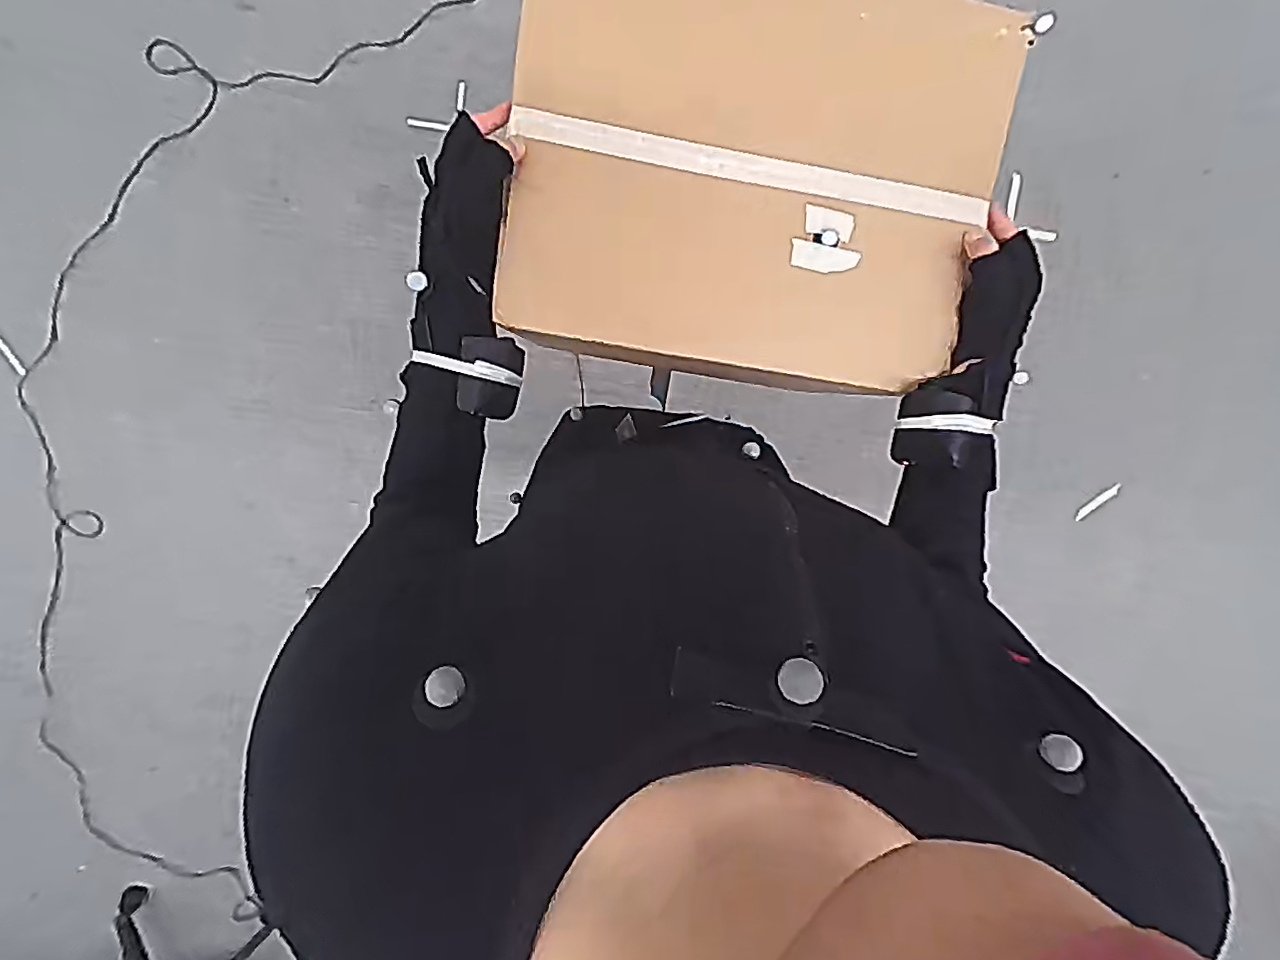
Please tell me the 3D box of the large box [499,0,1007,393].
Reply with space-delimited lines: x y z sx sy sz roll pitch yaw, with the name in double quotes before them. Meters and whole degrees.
"large box" 0.080 -0.280 0.602 0.408 0.320 0.320 8 101 -7
